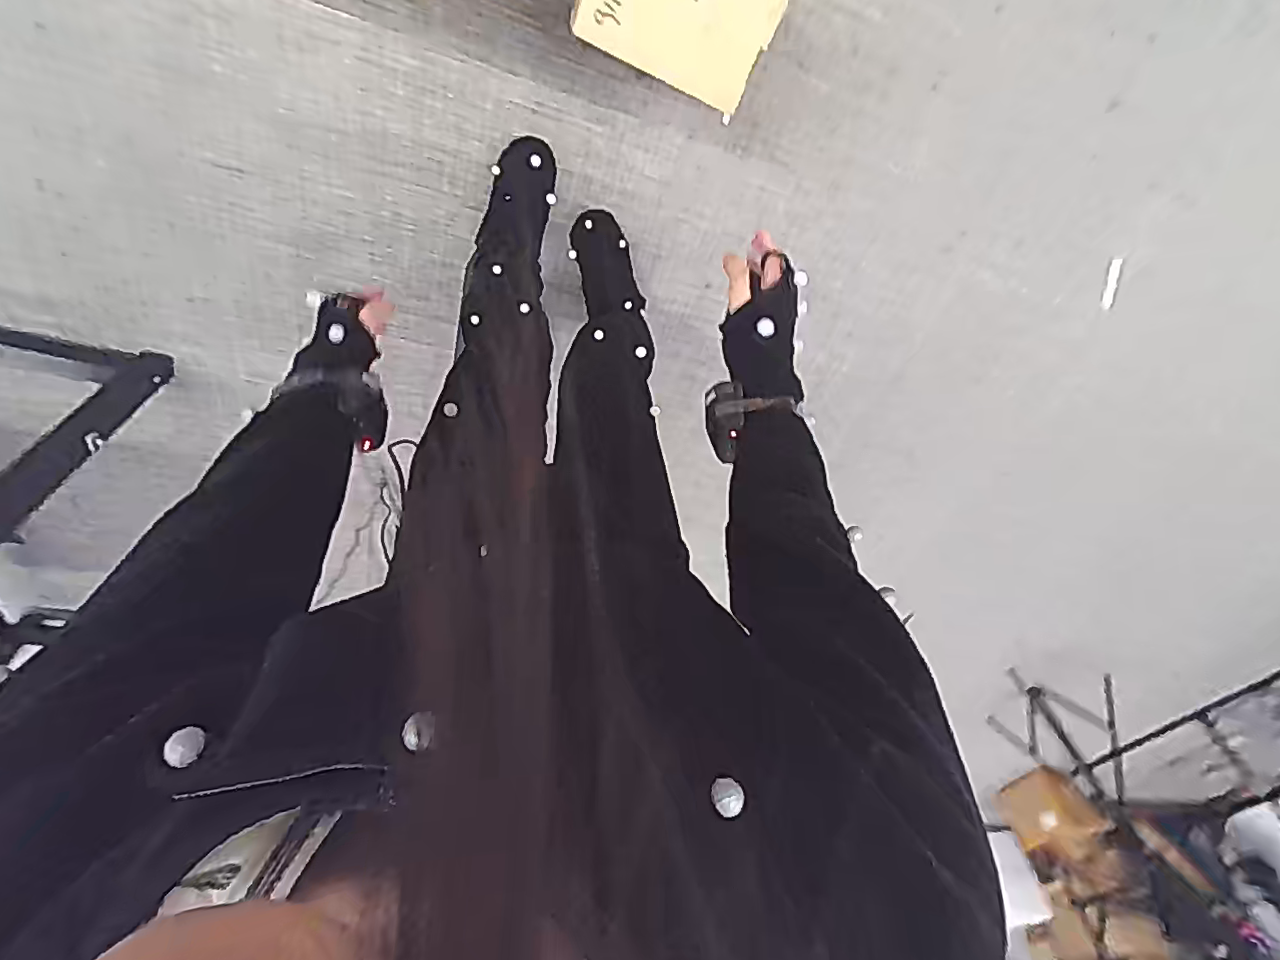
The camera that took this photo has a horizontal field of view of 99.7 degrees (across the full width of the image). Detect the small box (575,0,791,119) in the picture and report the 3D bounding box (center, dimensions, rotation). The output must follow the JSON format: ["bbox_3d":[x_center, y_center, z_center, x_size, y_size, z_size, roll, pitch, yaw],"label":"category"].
[{"bbox_3d":[0.044,-0.503,0.538,0.179,0.176,0.168,14,130,-21],"label":"small box"}]
